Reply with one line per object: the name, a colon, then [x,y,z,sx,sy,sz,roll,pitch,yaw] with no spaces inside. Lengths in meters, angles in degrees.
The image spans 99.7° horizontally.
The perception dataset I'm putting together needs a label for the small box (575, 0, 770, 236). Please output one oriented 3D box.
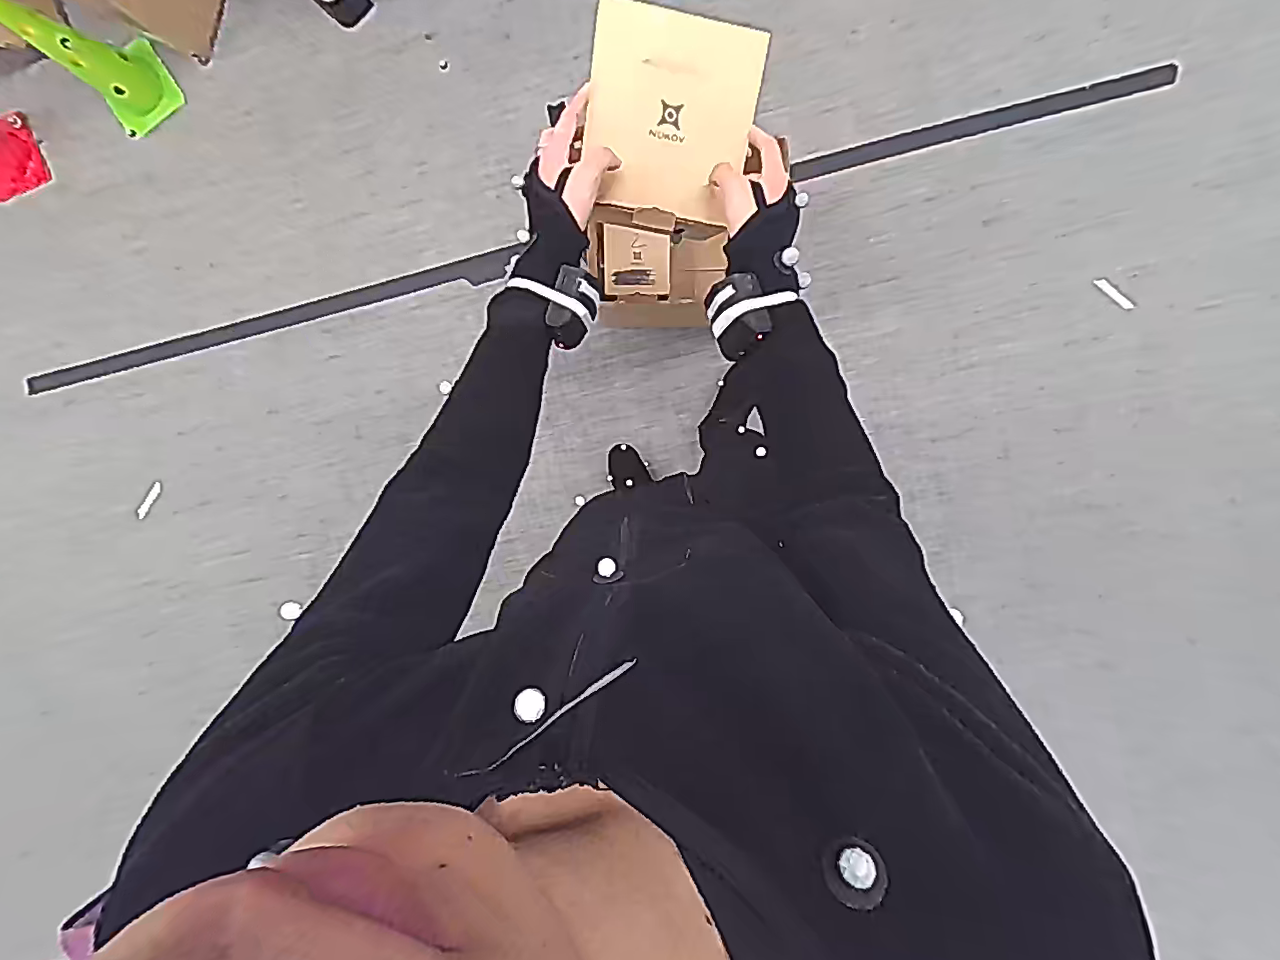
small box: [0.024,-0.383,0.605,0.168,0.176,0.179,8,109,-8]
